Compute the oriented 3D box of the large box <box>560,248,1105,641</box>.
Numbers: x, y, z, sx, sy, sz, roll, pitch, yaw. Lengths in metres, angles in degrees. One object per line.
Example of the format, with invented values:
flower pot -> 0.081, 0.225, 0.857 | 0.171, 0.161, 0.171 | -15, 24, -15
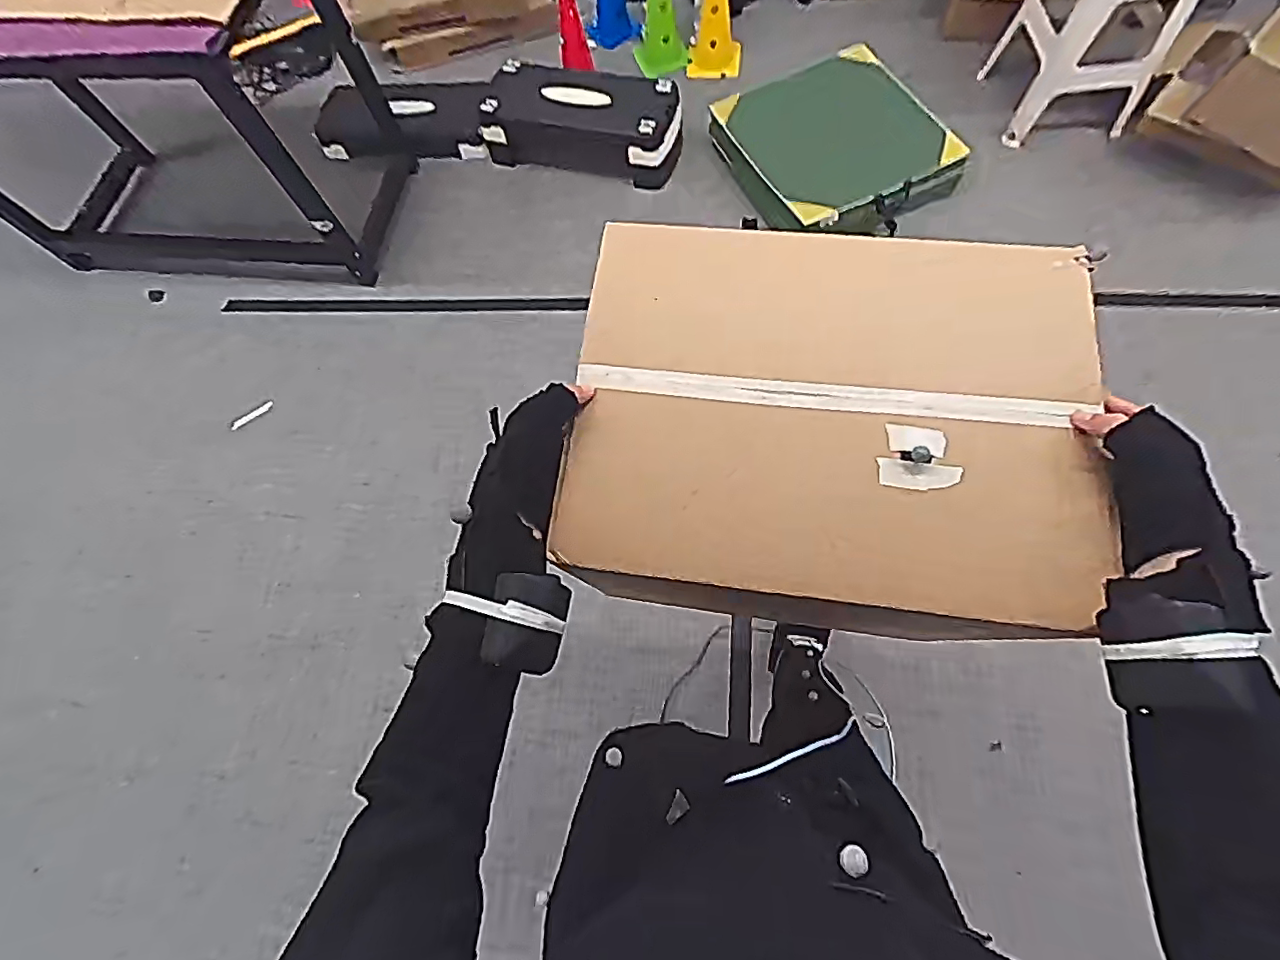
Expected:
large box -> 0.159, -0.010, 0.583 | 0.408, 0.320, 0.320 | 6, 74, 6
